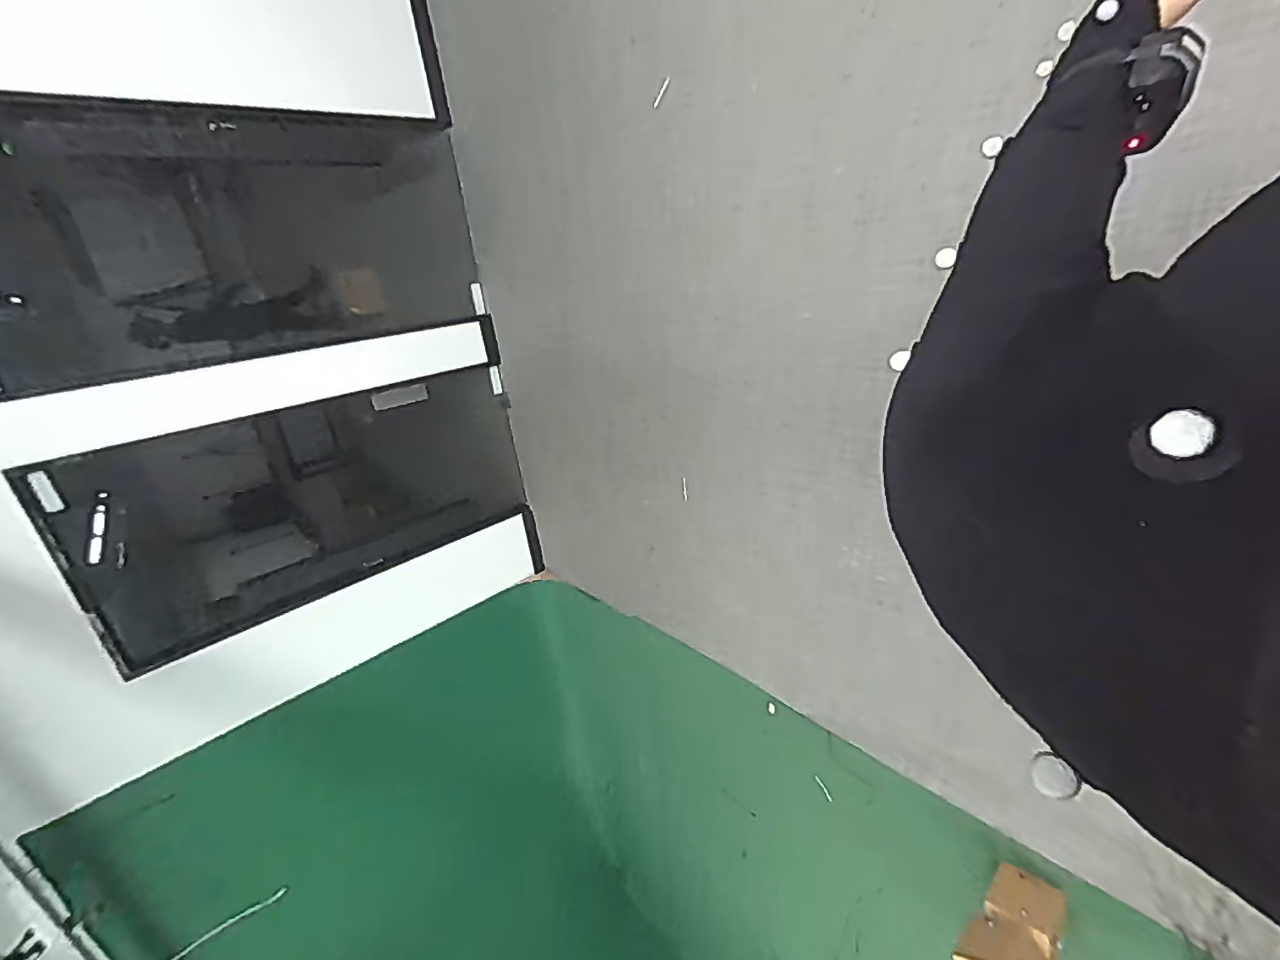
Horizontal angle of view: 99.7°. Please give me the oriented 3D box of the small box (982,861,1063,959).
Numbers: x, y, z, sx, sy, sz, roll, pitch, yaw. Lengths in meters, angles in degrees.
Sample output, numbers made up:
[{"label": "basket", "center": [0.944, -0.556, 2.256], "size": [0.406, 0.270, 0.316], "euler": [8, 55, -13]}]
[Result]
[{"label": "small box", "center": [1.174, 1.334, 1.656], "size": [0.168, 0.176, 0.179], "euler": [6, 114, 50]}]
